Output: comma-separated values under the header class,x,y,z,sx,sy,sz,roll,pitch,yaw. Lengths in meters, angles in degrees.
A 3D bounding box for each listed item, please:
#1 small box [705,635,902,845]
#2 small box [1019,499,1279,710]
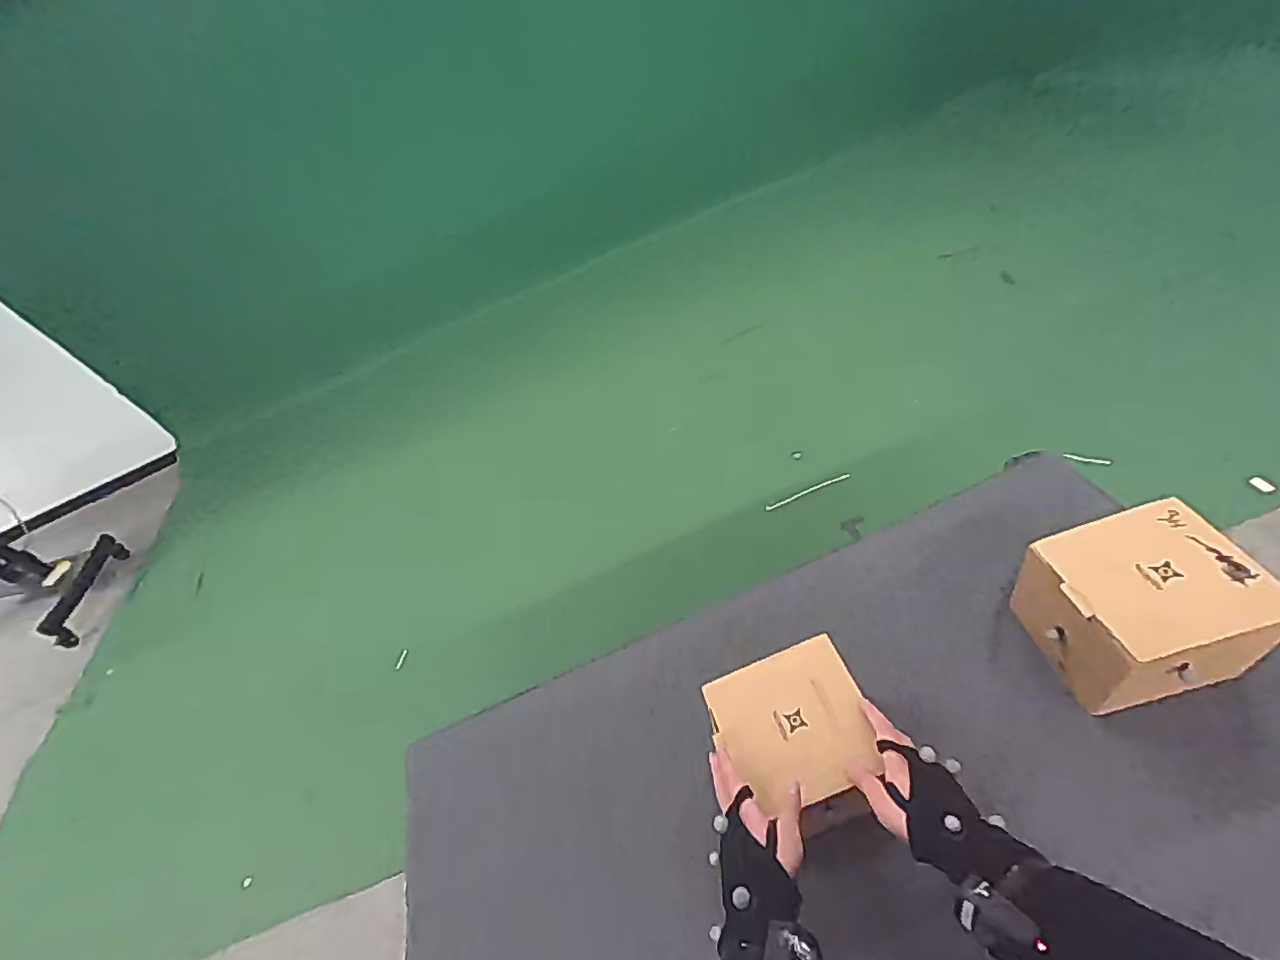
class,x,y,z,sx,sy,sz,roll,pitch,yaw
small box,0.206,0.335,0.688,0.179,0.176,0.168,-24,46,0
small box,0.602,0.158,0.661,0.179,0.176,0.168,-20,45,7
